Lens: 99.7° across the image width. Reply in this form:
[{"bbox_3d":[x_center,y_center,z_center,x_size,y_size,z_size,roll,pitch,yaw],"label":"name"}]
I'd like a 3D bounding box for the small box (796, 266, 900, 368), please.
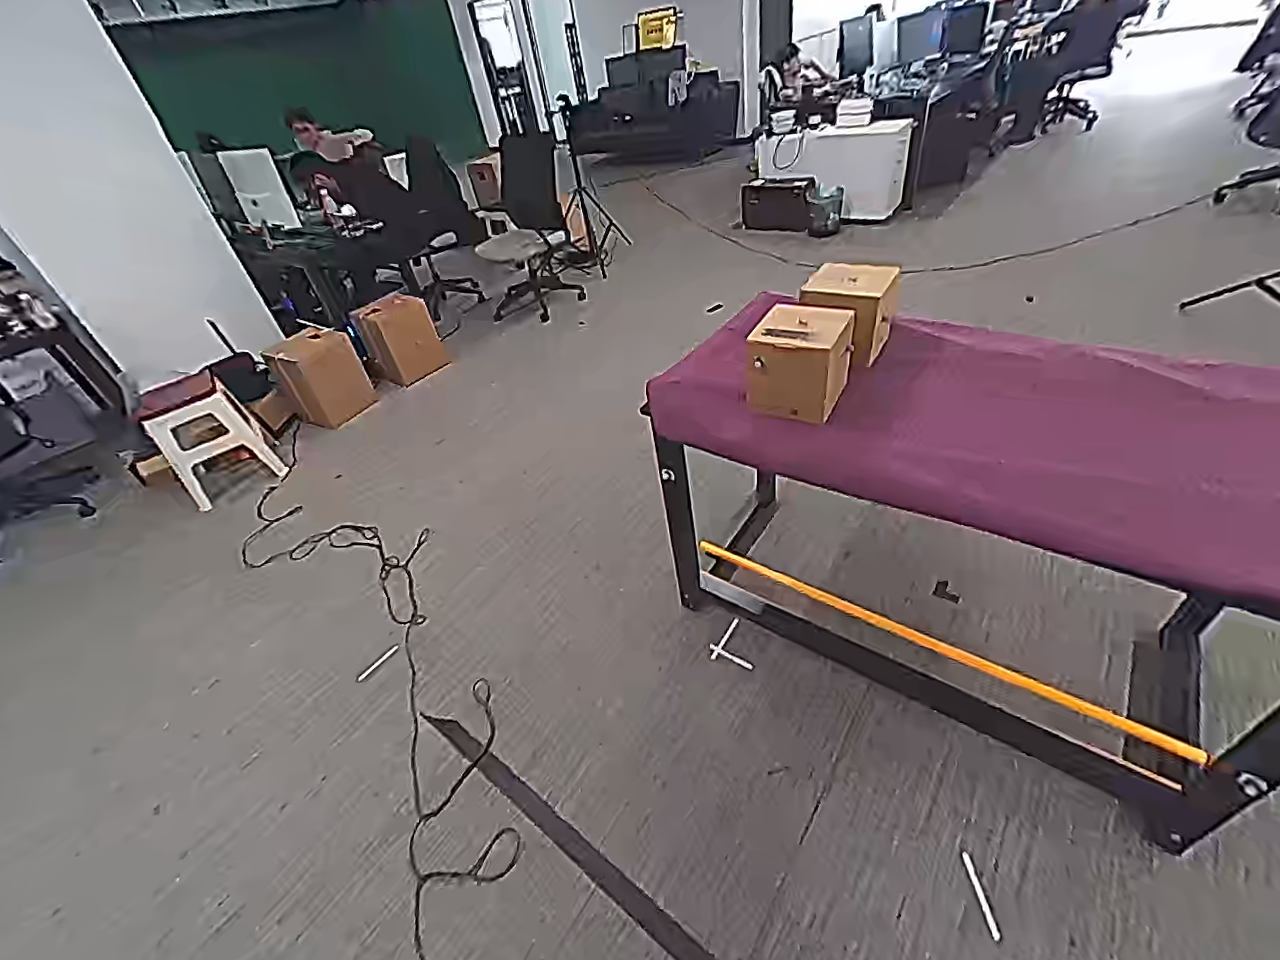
[{"bbox_3d":[0.477,-0.378,1.254,0.179,0.176,0.168,18,47,30],"label":"small box"}]
